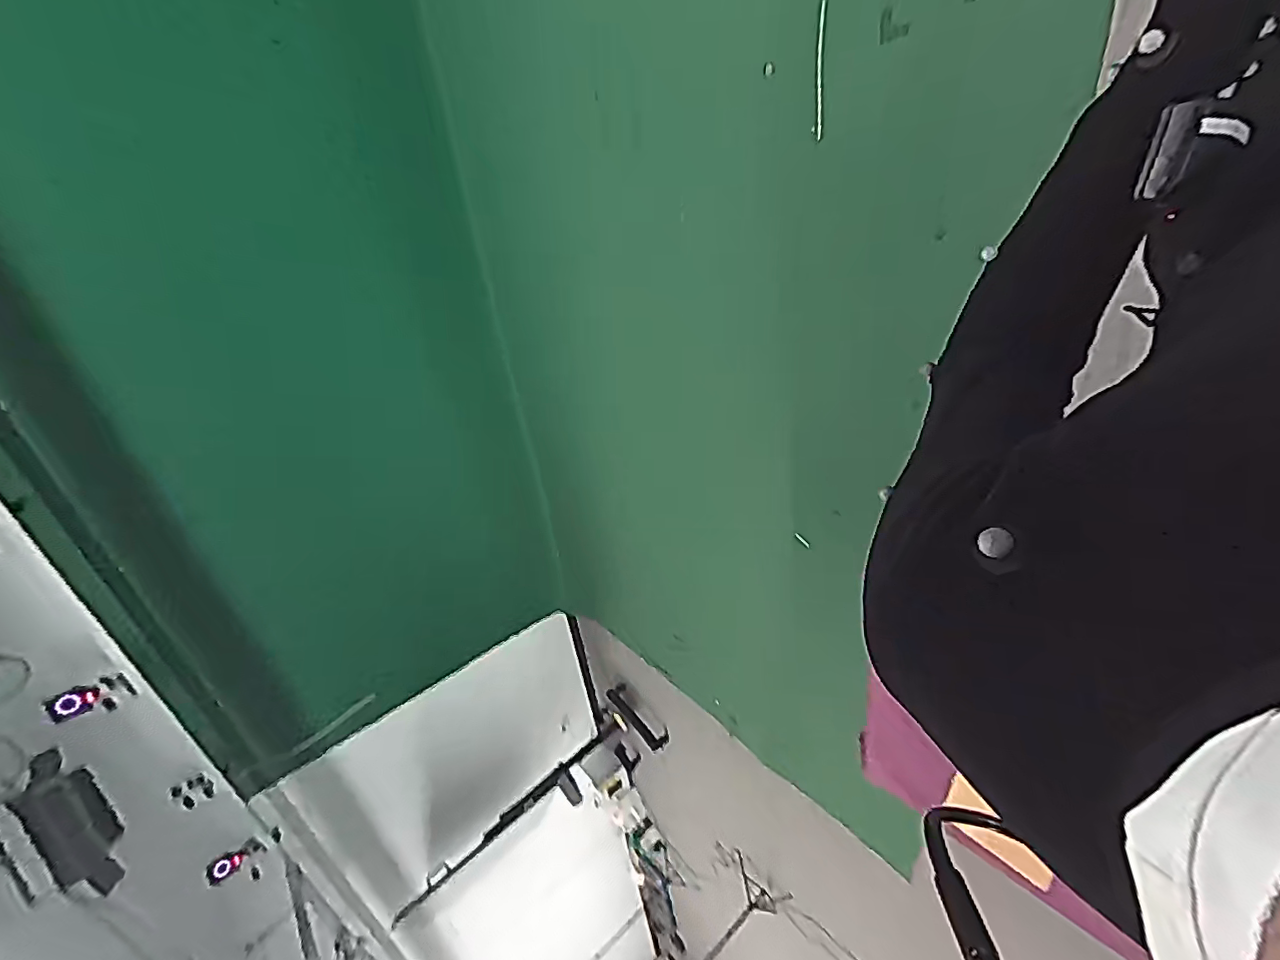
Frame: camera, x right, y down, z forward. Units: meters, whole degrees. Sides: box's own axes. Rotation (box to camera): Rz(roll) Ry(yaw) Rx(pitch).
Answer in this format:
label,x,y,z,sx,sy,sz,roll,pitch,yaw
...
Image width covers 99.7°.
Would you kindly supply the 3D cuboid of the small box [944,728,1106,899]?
label,x,y,z,sx,sy,sz,roll,pitch,yaw
small box,0.693,0.586,0.980,0.179,0.176,0.168,26,132,42
